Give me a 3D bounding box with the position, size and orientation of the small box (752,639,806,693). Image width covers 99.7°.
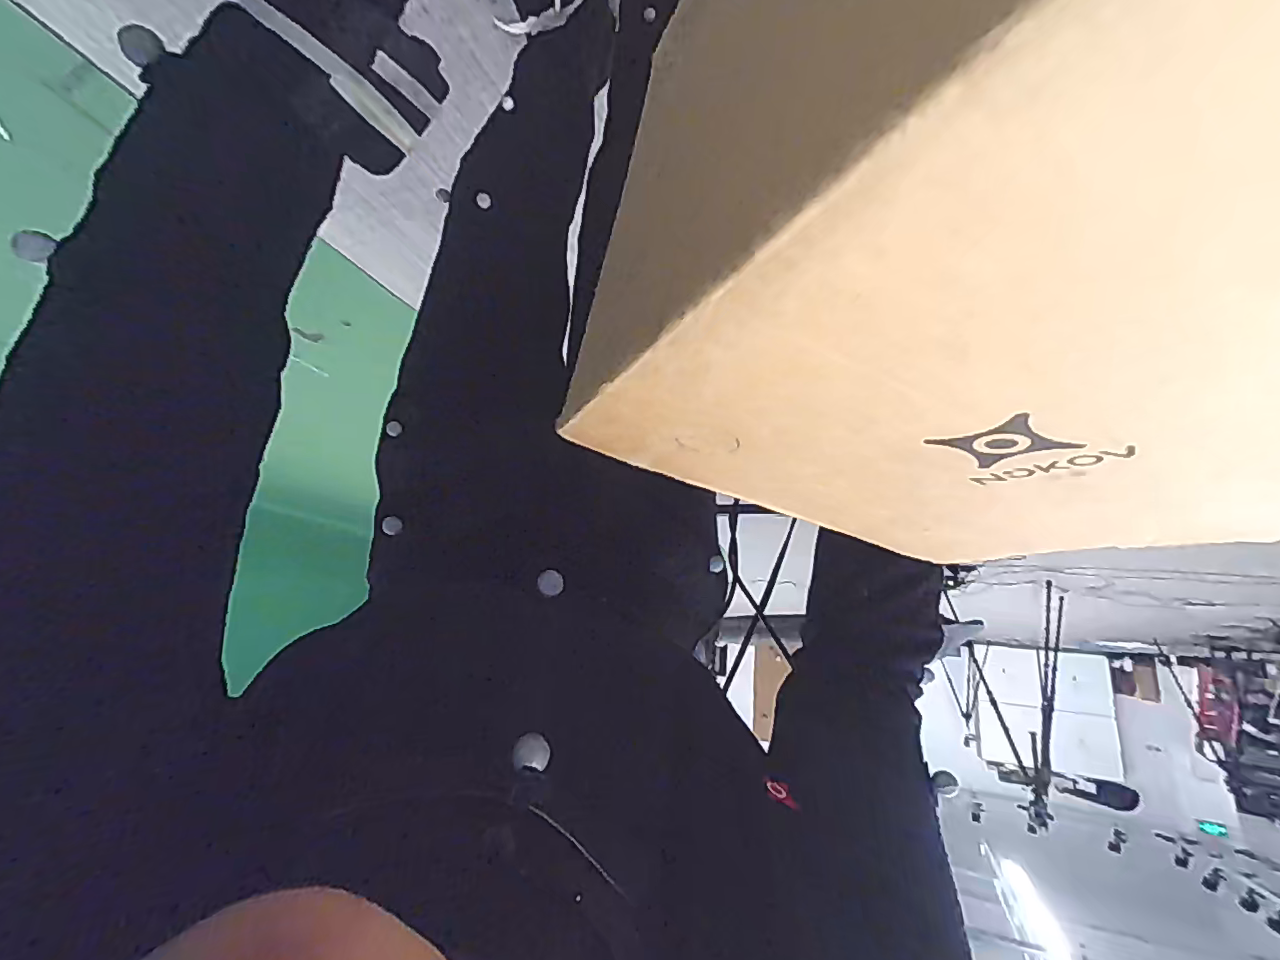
[{"bbox_3d":[0.513,0.680,1.979,0.168,0.176,0.179,-3,160,25],"label":"small box"}]

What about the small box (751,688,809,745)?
[{"bbox_3d":[0.502,0.834,1.926,0.179,0.176,0.168,-4,161,26],"label":"small box"}]

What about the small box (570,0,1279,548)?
[{"bbox_3d":[0.102,-0.090,0.155,0.179,0.176,0.168,18,160,-23],"label":"small box"}]
